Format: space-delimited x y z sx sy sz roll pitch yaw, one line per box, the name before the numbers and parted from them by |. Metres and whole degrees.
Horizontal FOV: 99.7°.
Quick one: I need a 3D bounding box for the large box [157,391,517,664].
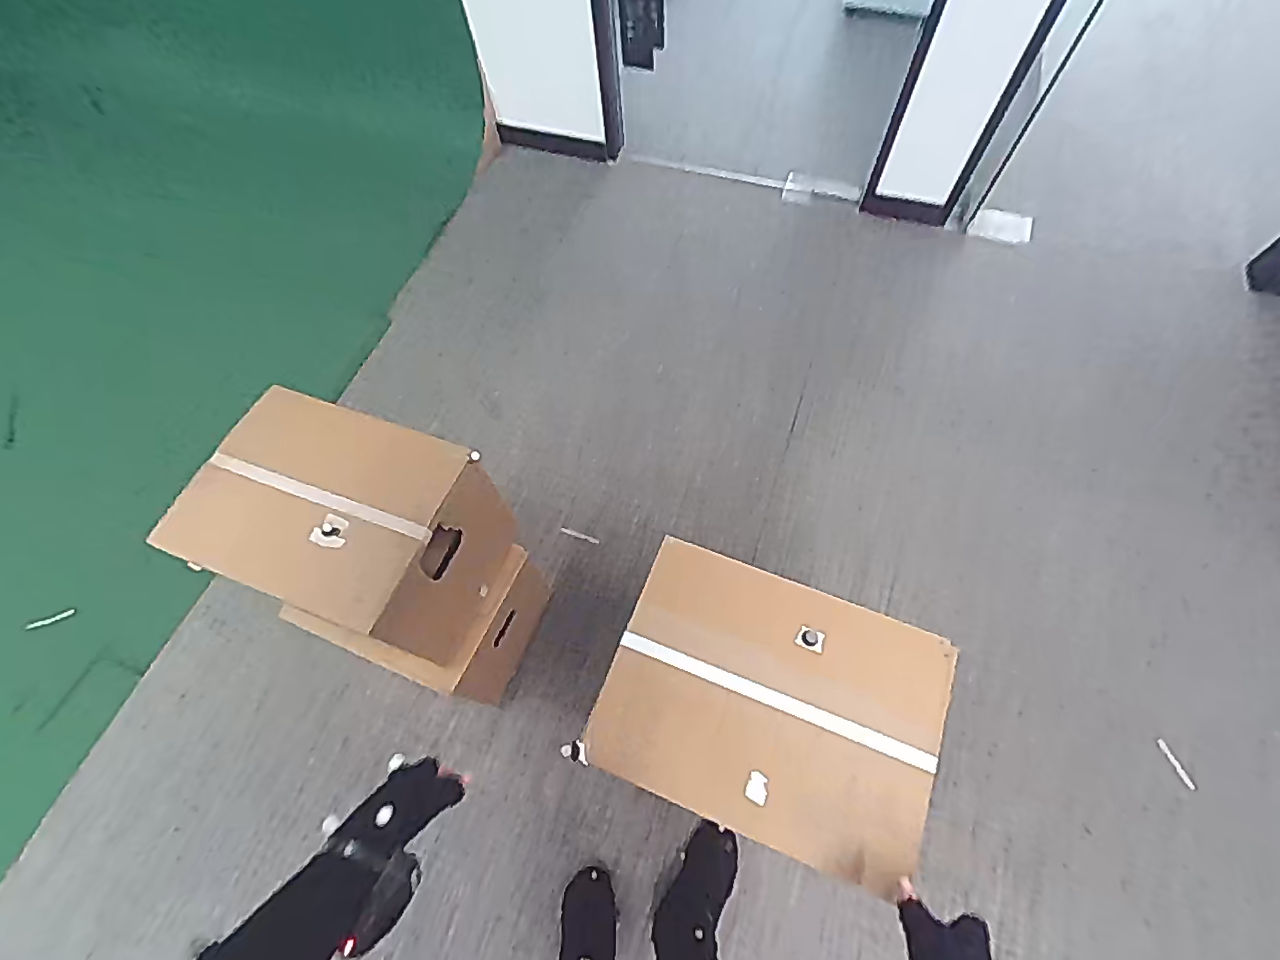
large box | -0.495 0.095 0.979 0.408 0.320 0.320 18 64 10
